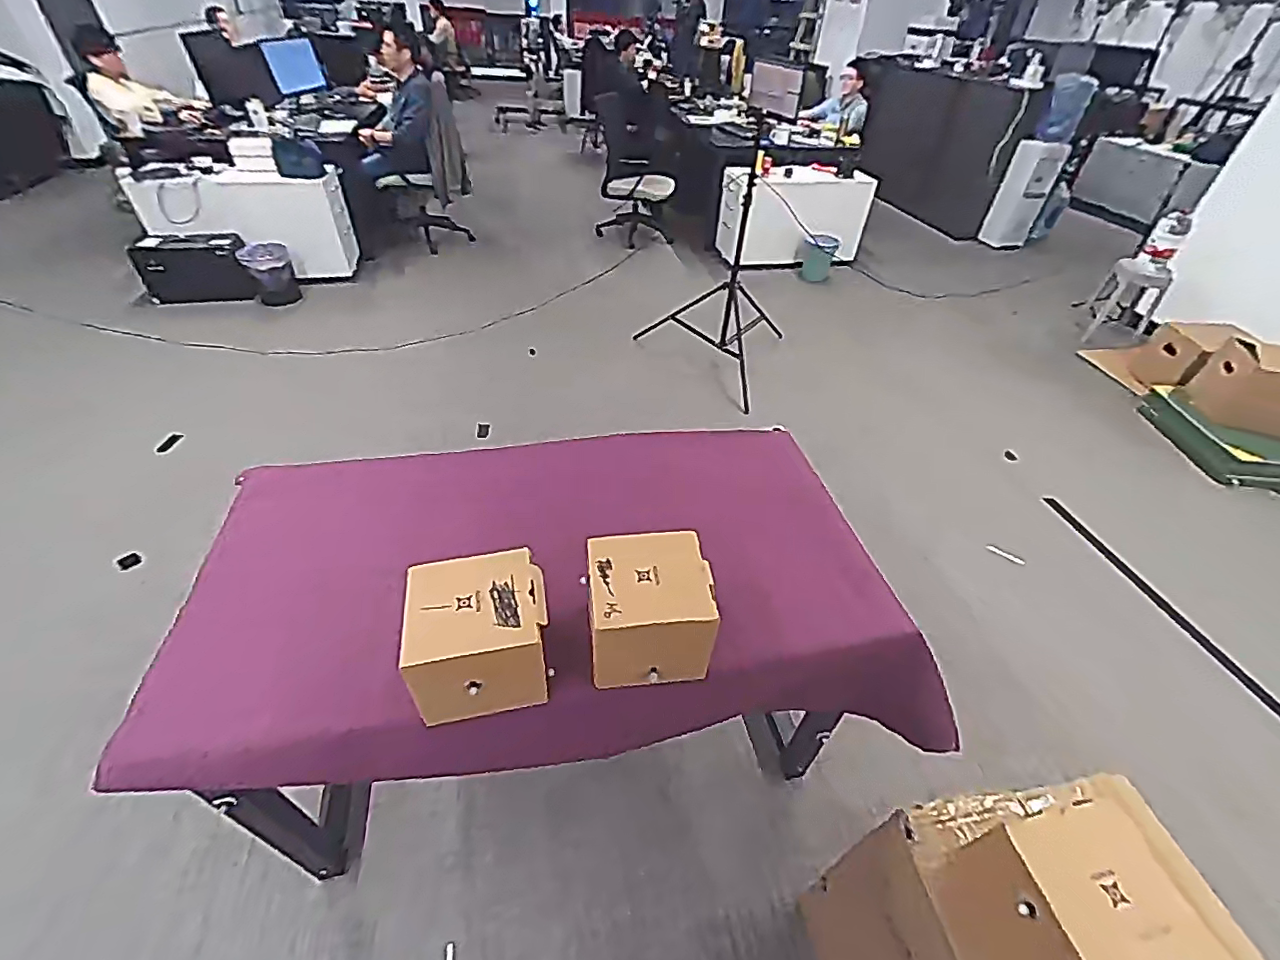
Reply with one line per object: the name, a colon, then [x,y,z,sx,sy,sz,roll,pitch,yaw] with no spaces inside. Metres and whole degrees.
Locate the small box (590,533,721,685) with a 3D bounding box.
small box: [0.013,0.202,0.848,0.179,0.176,0.168,-2,41,-8]

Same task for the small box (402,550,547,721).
small box: [-0.232,0.229,0.799,0.179,0.176,0.168,-7,42,-11]

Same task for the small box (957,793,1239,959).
small box: [0.544,0.529,0.678,0.168,0.176,0.179,-8,44,-9]
